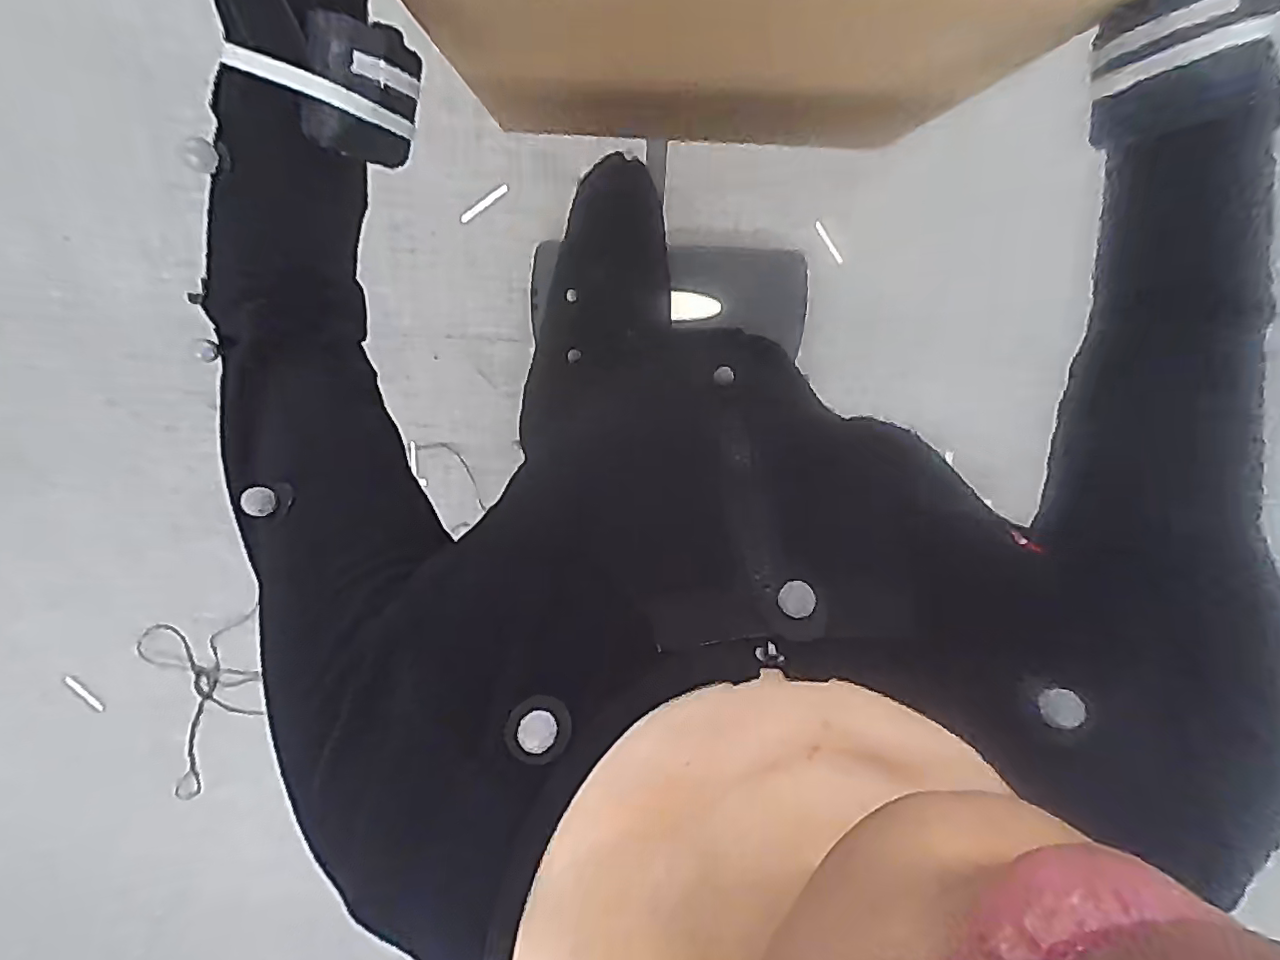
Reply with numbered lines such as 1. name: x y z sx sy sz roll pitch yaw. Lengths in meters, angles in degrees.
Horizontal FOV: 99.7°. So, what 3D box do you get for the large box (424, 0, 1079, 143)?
1. large box: 0.062 -0.461 0.386 0.408 0.320 0.320 1 108 -2
